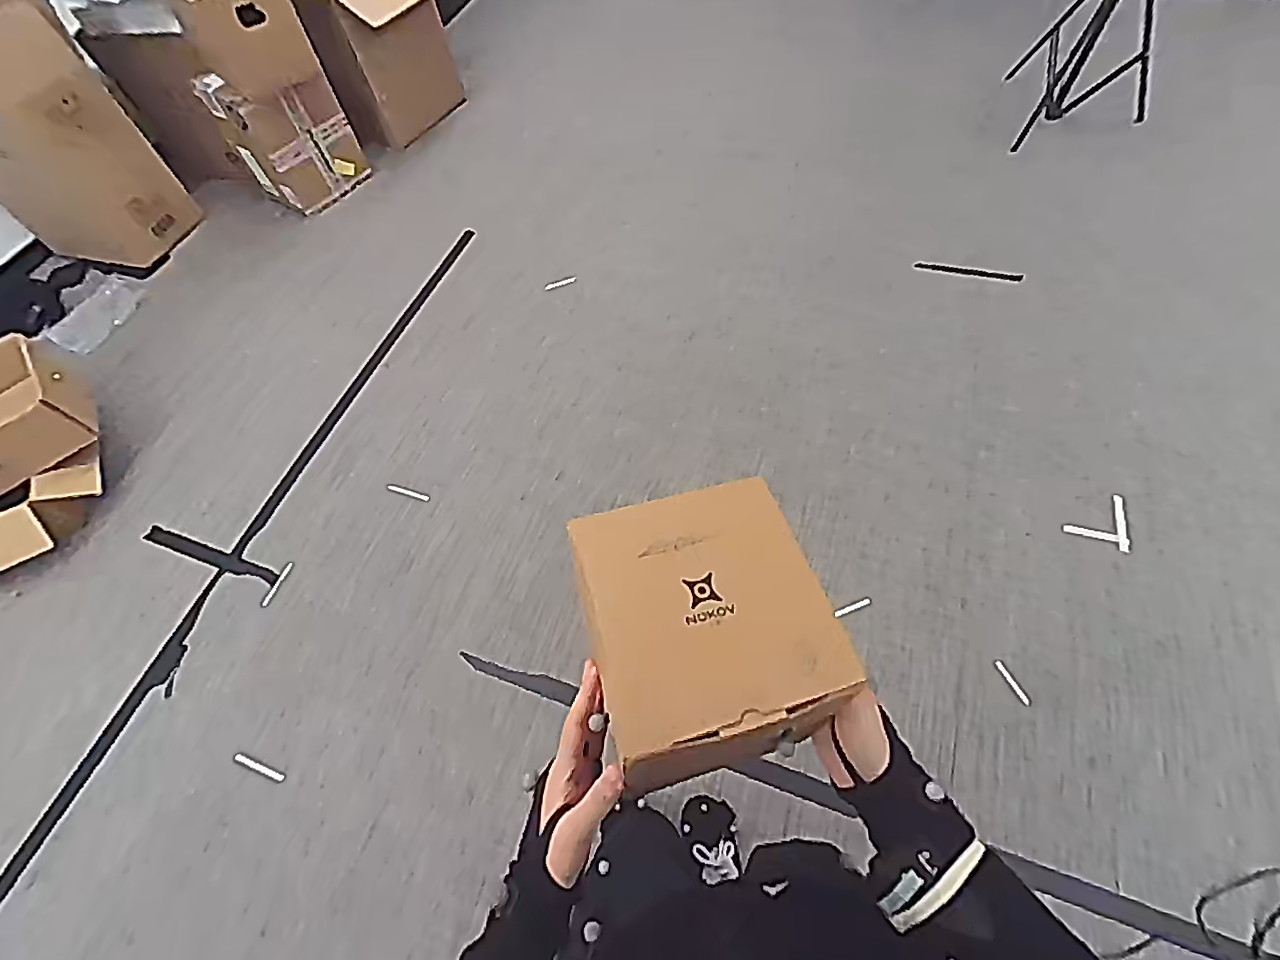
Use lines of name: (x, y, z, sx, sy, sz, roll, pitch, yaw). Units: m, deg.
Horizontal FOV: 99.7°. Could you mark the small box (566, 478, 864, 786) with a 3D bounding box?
small box: (0.044, 0.130, 0.441, 0.168, 0.176, 0.179, -13, 54, -11)
